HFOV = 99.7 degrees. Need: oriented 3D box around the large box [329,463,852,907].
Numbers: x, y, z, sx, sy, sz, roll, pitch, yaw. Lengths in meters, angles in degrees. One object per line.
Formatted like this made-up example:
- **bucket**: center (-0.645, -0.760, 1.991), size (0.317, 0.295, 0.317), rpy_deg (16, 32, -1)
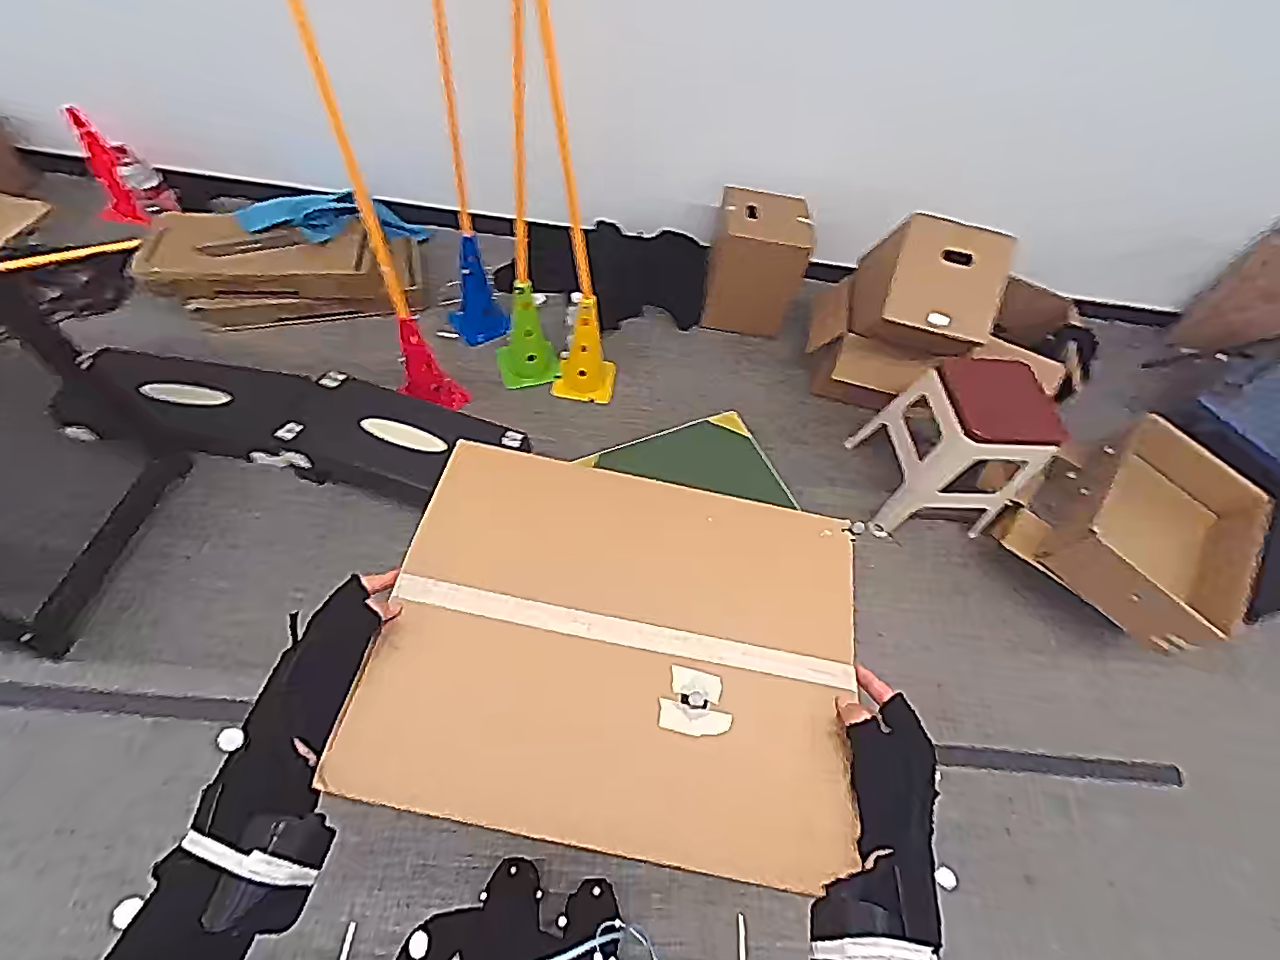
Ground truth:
- **large box**: center (-0.029, 0.223, 0.600), size (0.408, 0.320, 0.320), rpy_deg (13, 60, 0)
